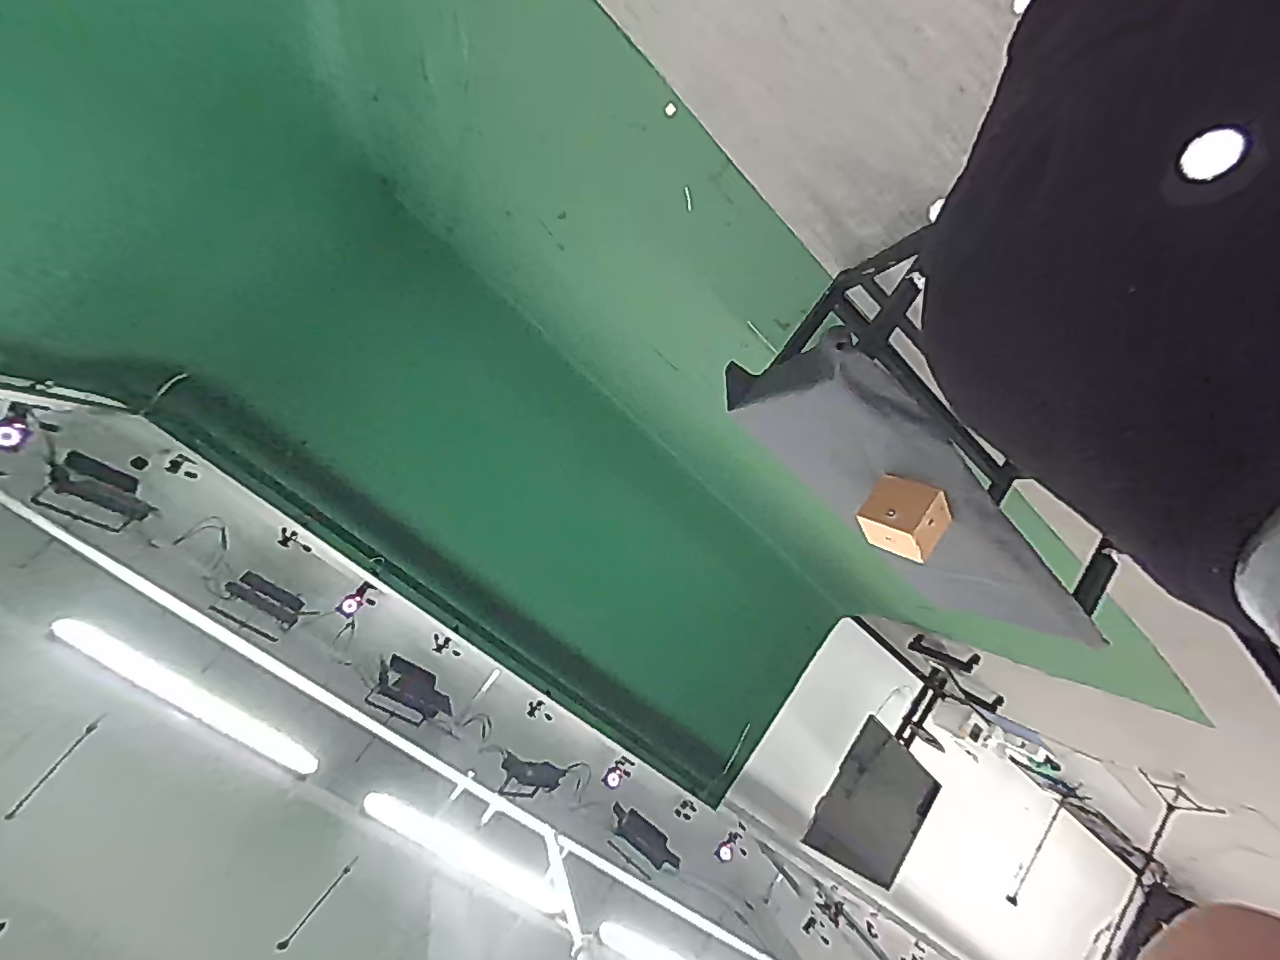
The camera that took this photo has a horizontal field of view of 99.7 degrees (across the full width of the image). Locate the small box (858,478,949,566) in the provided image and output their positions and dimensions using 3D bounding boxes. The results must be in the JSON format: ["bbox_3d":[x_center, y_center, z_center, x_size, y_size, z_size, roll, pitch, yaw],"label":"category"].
[{"bbox_3d":[0.783,0.117,1.592,0.179,0.176,0.168,26,162,49],"label":"small box"}]
